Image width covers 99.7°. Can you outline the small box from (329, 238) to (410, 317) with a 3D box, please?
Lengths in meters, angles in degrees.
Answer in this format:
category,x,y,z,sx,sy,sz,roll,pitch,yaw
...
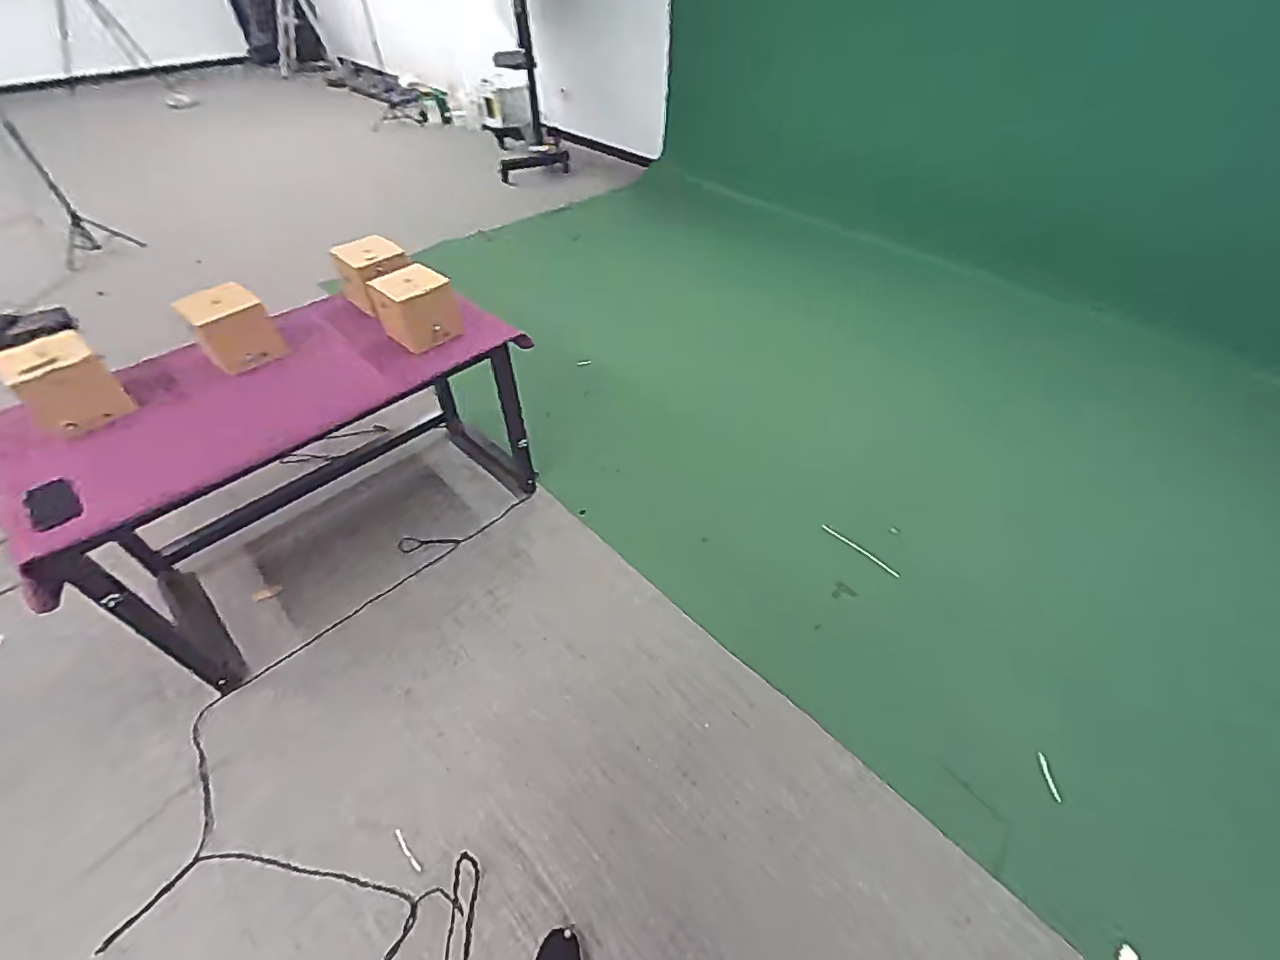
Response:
category,x,y,z,sx,sy,sz,roll,pitch,yaw
small box,-0.842,-0.643,1.720,0.179,0.176,0.168,34,55,27

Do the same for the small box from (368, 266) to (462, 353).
category,x,y,z,sx,sy,sz,roll,pitch,yaw
small box,-0.653,-0.498,1.582,0.179,0.176,0.168,34,56,29

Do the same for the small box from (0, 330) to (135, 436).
category,x,y,z,sx,sy,sz,roll,pitch,yaw
small box,-1.397,-0.231,1.317,0.179,0.176,0.168,32,53,27

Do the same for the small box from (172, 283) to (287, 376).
category,x,y,z,sx,sy,sz,roll,pitch,yaw
small box,-1.133,-0.416,1.501,0.179,0.176,0.168,33,55,26
